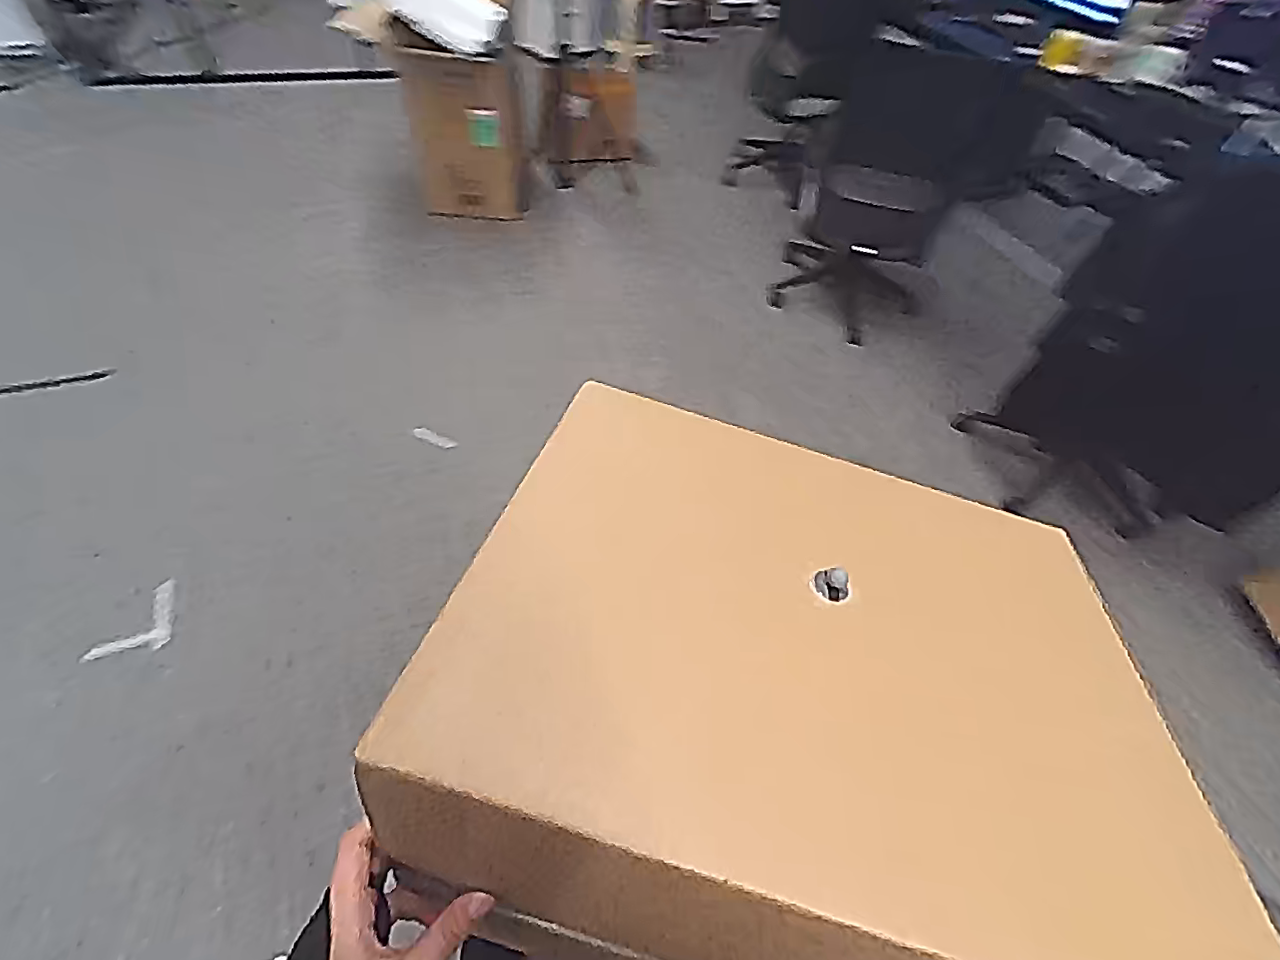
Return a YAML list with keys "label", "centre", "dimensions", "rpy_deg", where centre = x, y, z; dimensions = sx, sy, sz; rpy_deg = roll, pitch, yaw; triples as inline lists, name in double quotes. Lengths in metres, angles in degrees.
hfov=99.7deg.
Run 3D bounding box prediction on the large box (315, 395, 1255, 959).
- label: "large box"
  centre: [0.060, 0.177, 0.421]
  dimensions: [0.408, 0.320, 0.320]
  rpy_deg: [15, 43, 1]
